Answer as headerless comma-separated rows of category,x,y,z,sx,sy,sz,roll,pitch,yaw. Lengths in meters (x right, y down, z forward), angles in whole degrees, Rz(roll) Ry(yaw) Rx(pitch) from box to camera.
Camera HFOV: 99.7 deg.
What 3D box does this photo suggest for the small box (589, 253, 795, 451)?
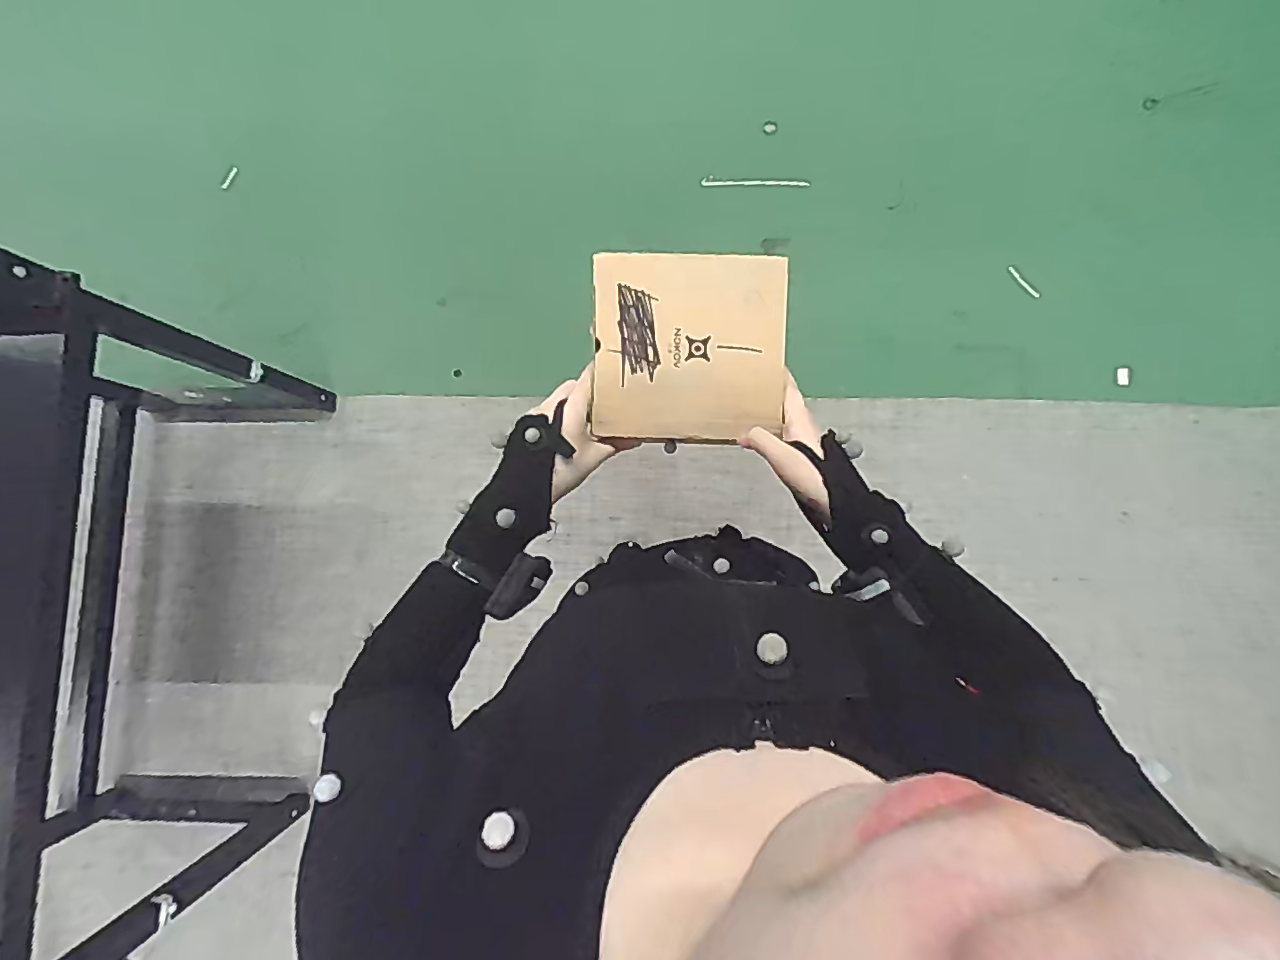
small box,0.046,-0.117,0.553,0.179,0.176,0.168,2,93,0
